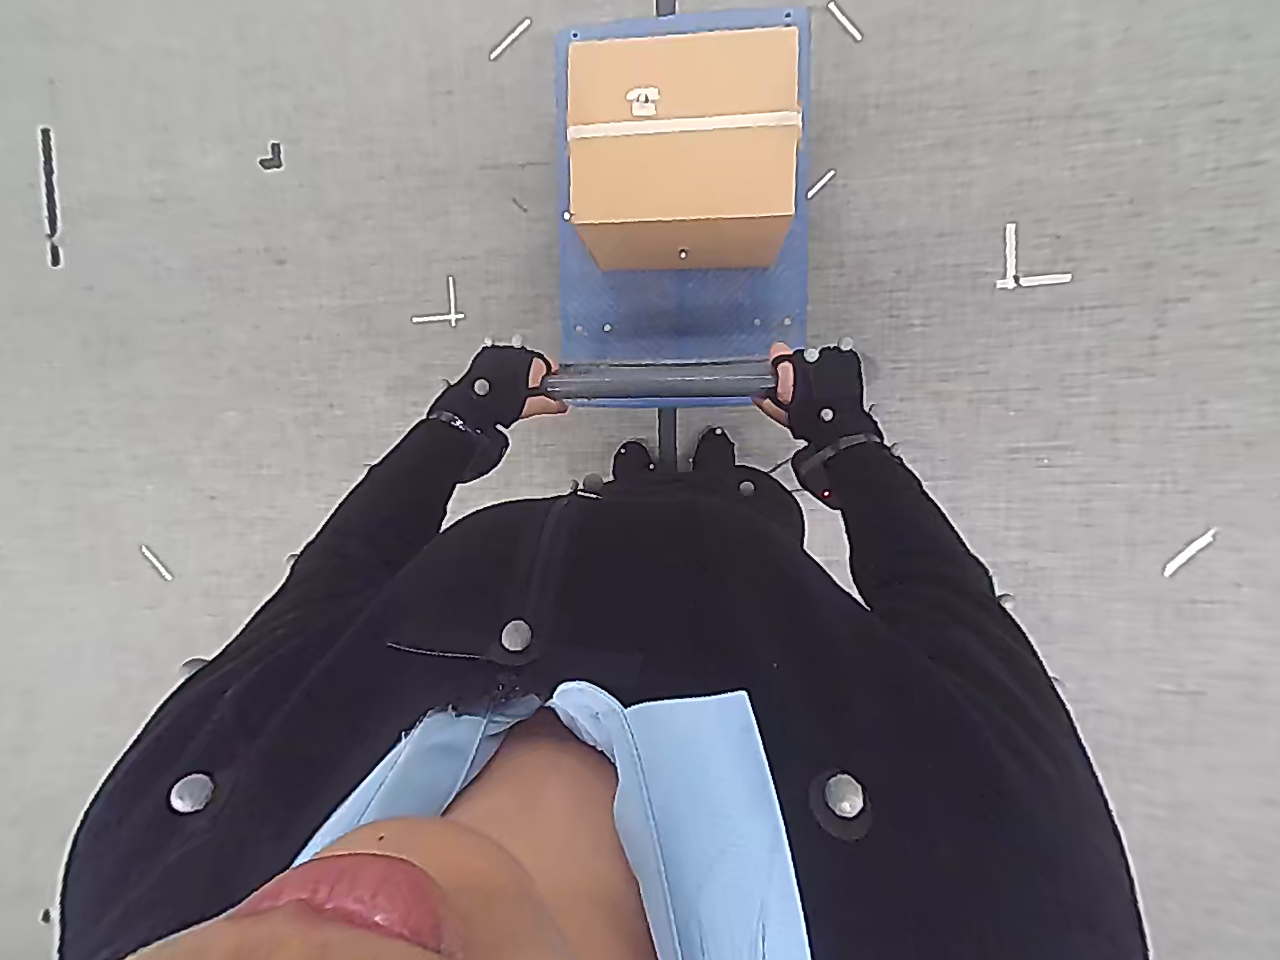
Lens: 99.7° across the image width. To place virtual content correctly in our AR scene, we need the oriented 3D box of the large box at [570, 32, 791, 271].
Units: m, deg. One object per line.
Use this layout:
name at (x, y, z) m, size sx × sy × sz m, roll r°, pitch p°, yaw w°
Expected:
large box at (0.091, -0.642, 1.126) m, size 0.408 × 0.320 × 0.320 m, roll 0°, pitch 94°, yaw 7°
